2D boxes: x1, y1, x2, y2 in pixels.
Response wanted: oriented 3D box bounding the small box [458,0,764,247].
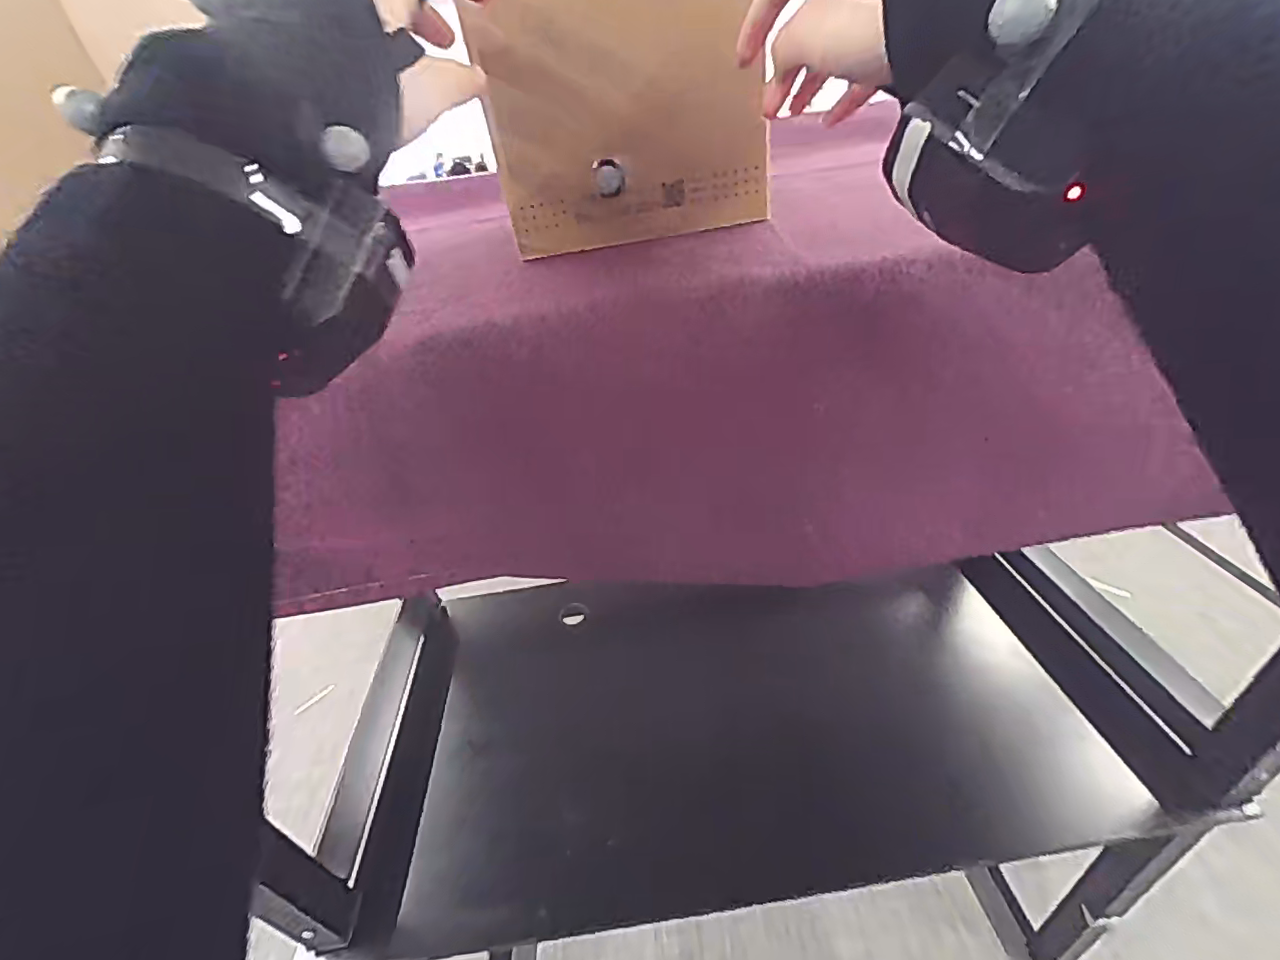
[{"bbox_3d":[-0.016,-0.271,0.371,0.168,0.176,0.179,-10,35,2],"label":"small box"}]
